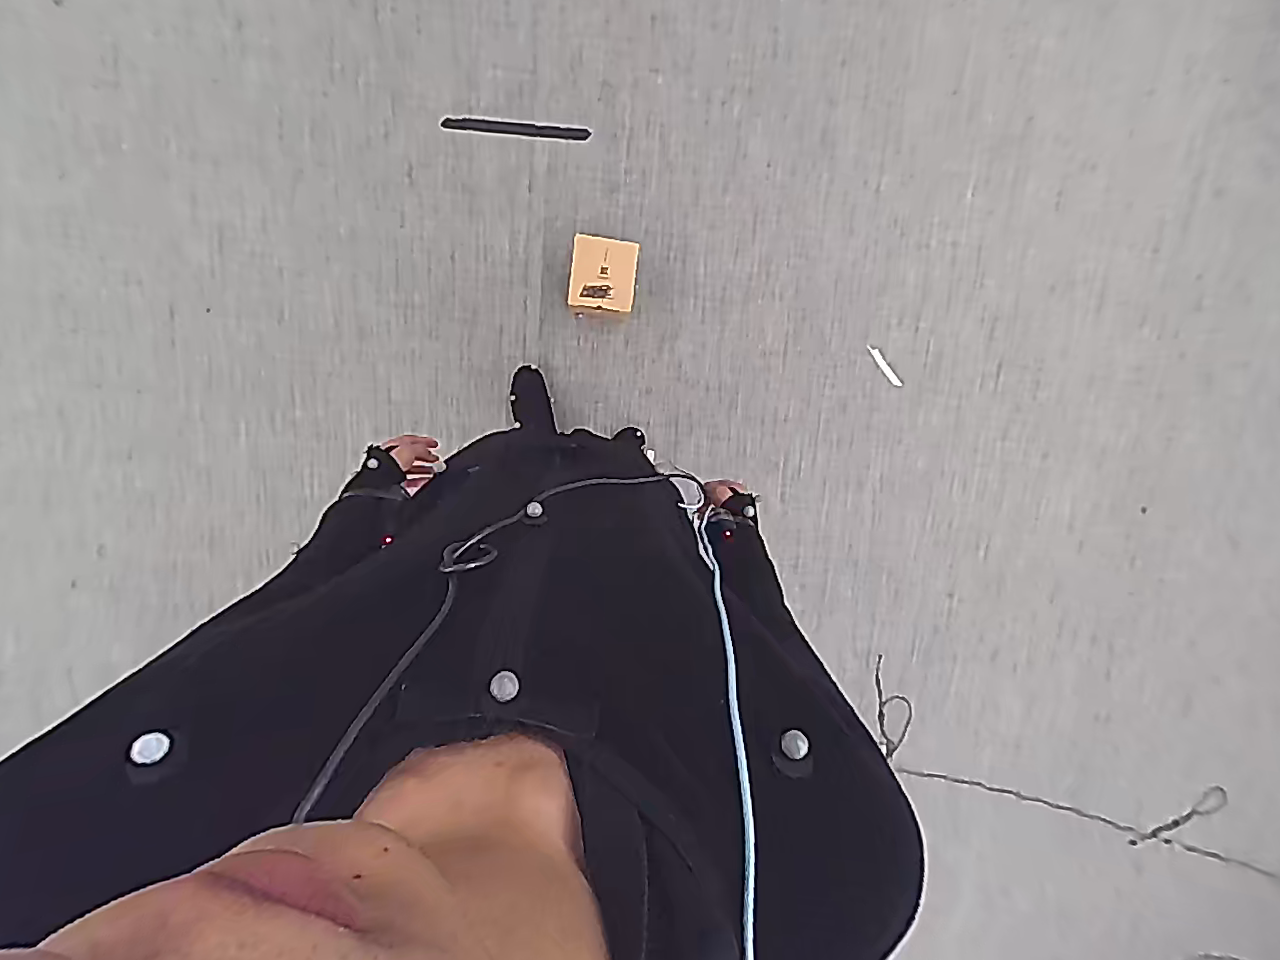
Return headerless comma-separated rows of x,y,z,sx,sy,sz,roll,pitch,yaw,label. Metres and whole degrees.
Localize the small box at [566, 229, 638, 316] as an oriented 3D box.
-0.103,-0.546,1.449,0.168,0.176,0.179,7,99,-6,small box
